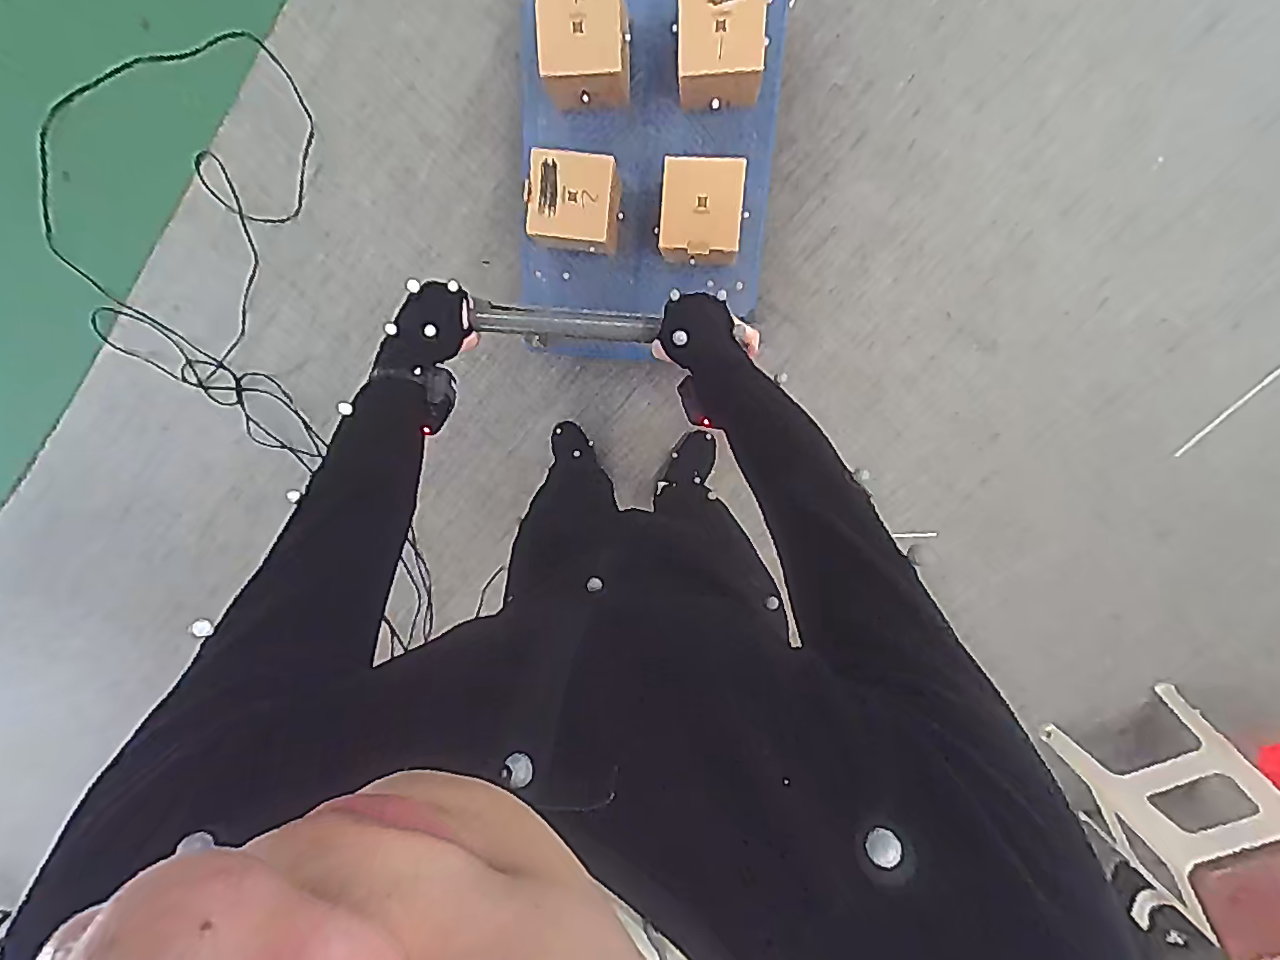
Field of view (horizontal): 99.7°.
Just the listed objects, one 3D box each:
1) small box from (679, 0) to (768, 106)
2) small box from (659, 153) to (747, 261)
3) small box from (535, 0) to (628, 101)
[{"bbox_3d":[0.162,-0.890,1.090,0.168,0.176,0.179,1,105,5],"label":"small box"},{"bbox_3d":[0.133,-0.584,1.174,0.168,0.176,0.179,5,105,4],"label":"small box"},{"bbox_3d":[-0.113,-0.906,1.111,0.168,0.176,0.179,1,105,4],"label":"small box"}]
